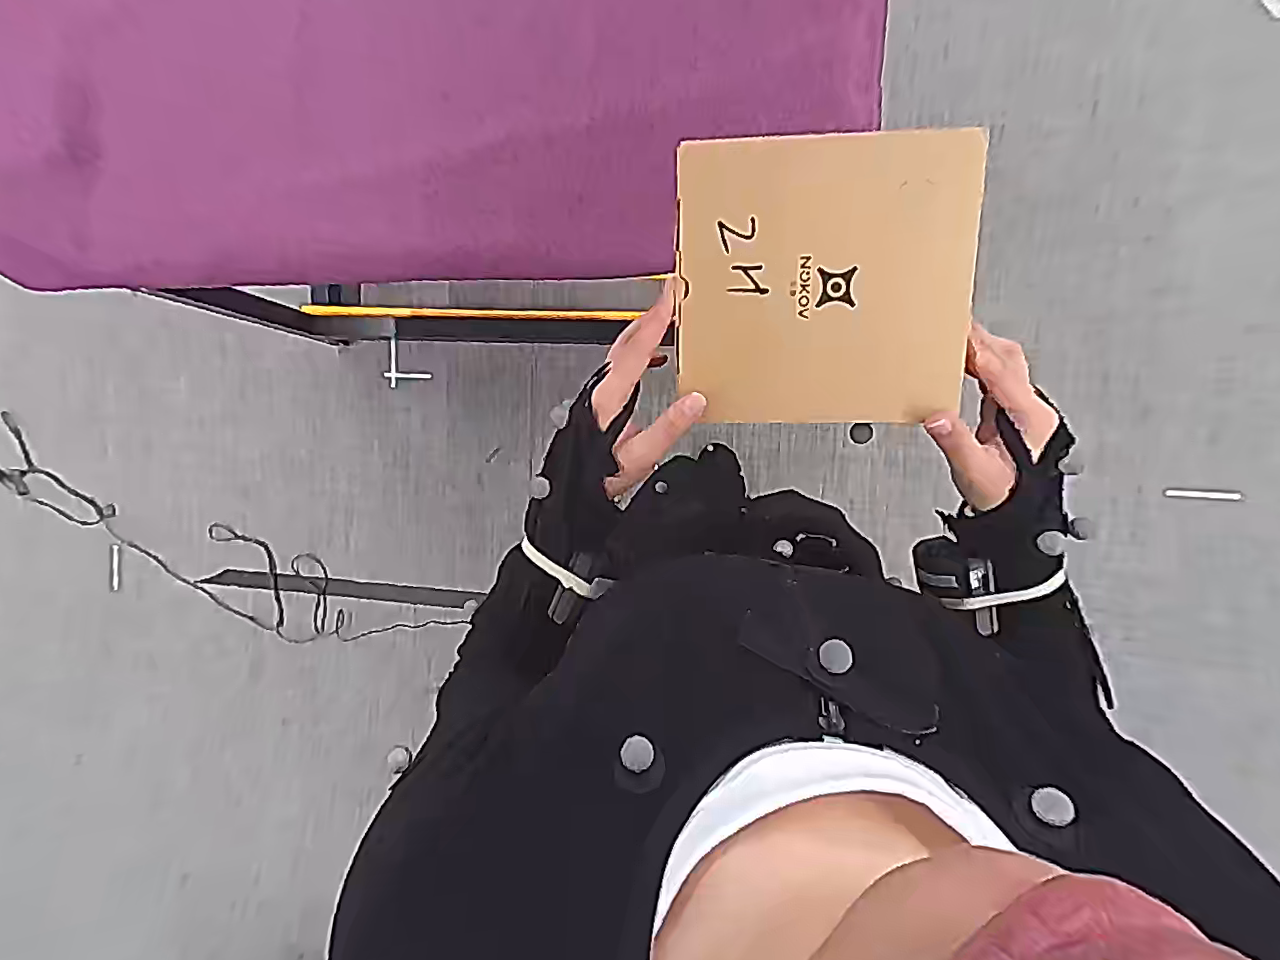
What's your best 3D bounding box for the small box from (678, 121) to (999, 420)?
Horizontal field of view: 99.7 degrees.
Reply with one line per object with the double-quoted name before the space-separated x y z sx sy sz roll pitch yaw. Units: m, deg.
"small box" 0.118 -0.135 0.396 0.179 0.176 0.168 1 101 6
